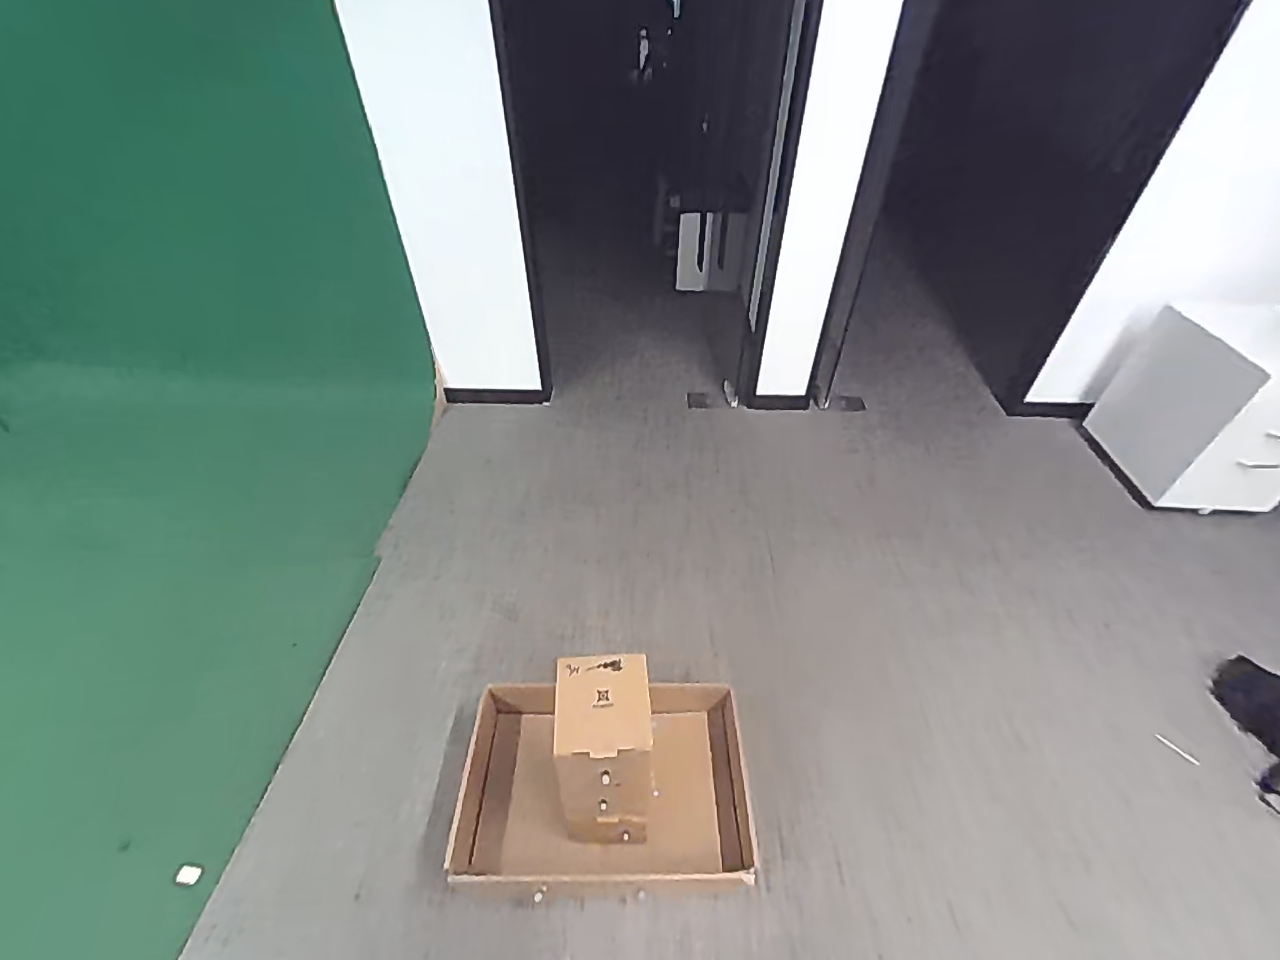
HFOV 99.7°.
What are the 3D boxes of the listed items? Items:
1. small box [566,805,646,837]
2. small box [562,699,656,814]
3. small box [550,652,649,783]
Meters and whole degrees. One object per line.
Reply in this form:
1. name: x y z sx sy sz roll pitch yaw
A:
1. small box: -0.068 0.685 1.219 0.168 0.176 0.179 1 41 0
2. small box: -0.065 0.566 1.108 0.179 0.176 0.168 -2 43 -4
3. small box: -0.069 0.443 1.000 0.168 0.176 0.179 -2 43 -2
